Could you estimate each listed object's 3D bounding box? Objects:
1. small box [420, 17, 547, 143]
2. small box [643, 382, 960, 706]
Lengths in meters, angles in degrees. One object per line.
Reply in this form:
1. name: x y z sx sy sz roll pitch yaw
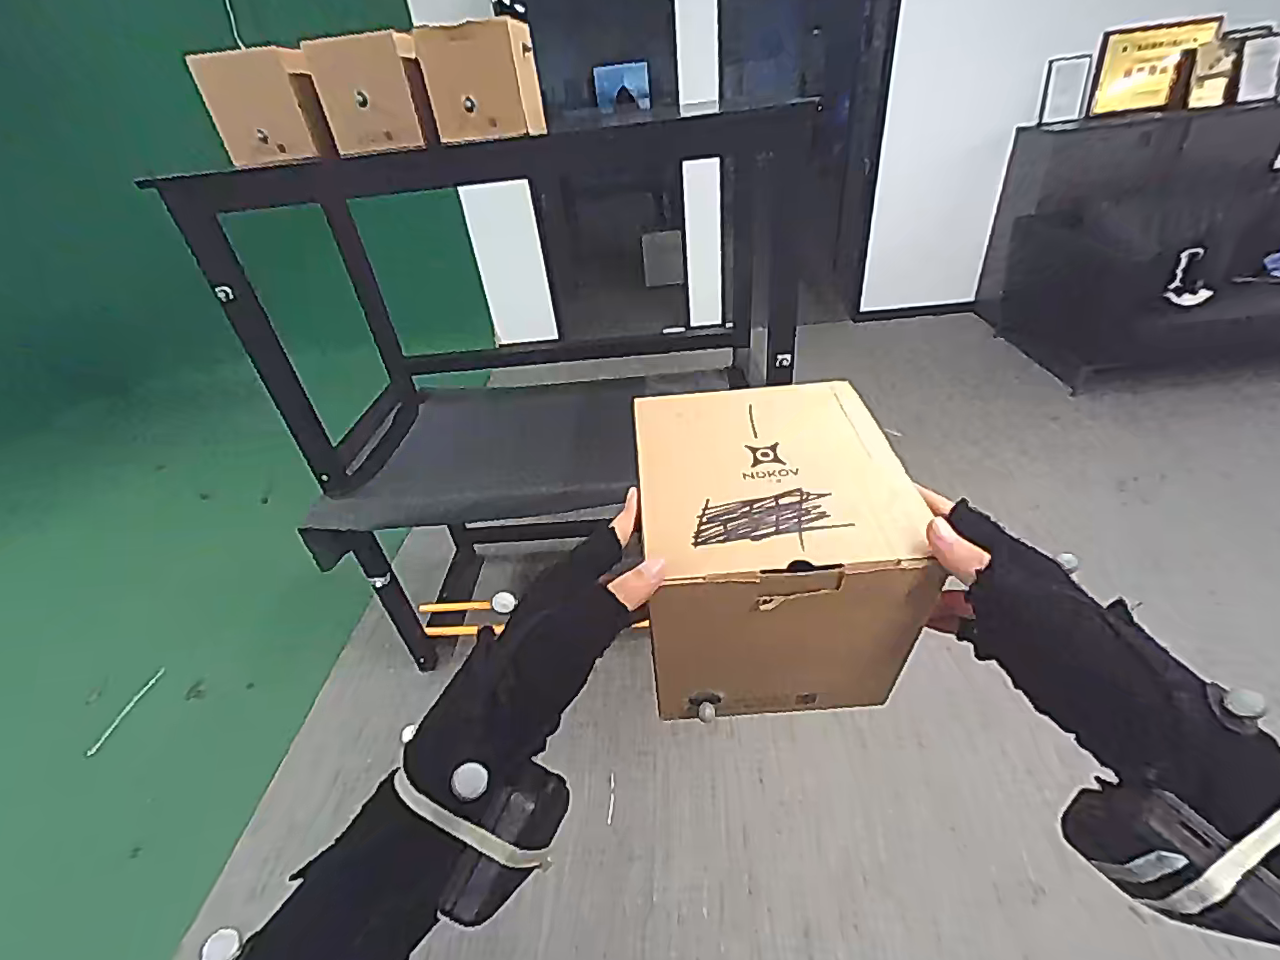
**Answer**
1. small box: -0.274 -0.728 0.995 0.168 0.176 0.179 -3 36 5
2. small box: 0.092 0.050 0.399 0.168 0.176 0.179 -4 41 0
